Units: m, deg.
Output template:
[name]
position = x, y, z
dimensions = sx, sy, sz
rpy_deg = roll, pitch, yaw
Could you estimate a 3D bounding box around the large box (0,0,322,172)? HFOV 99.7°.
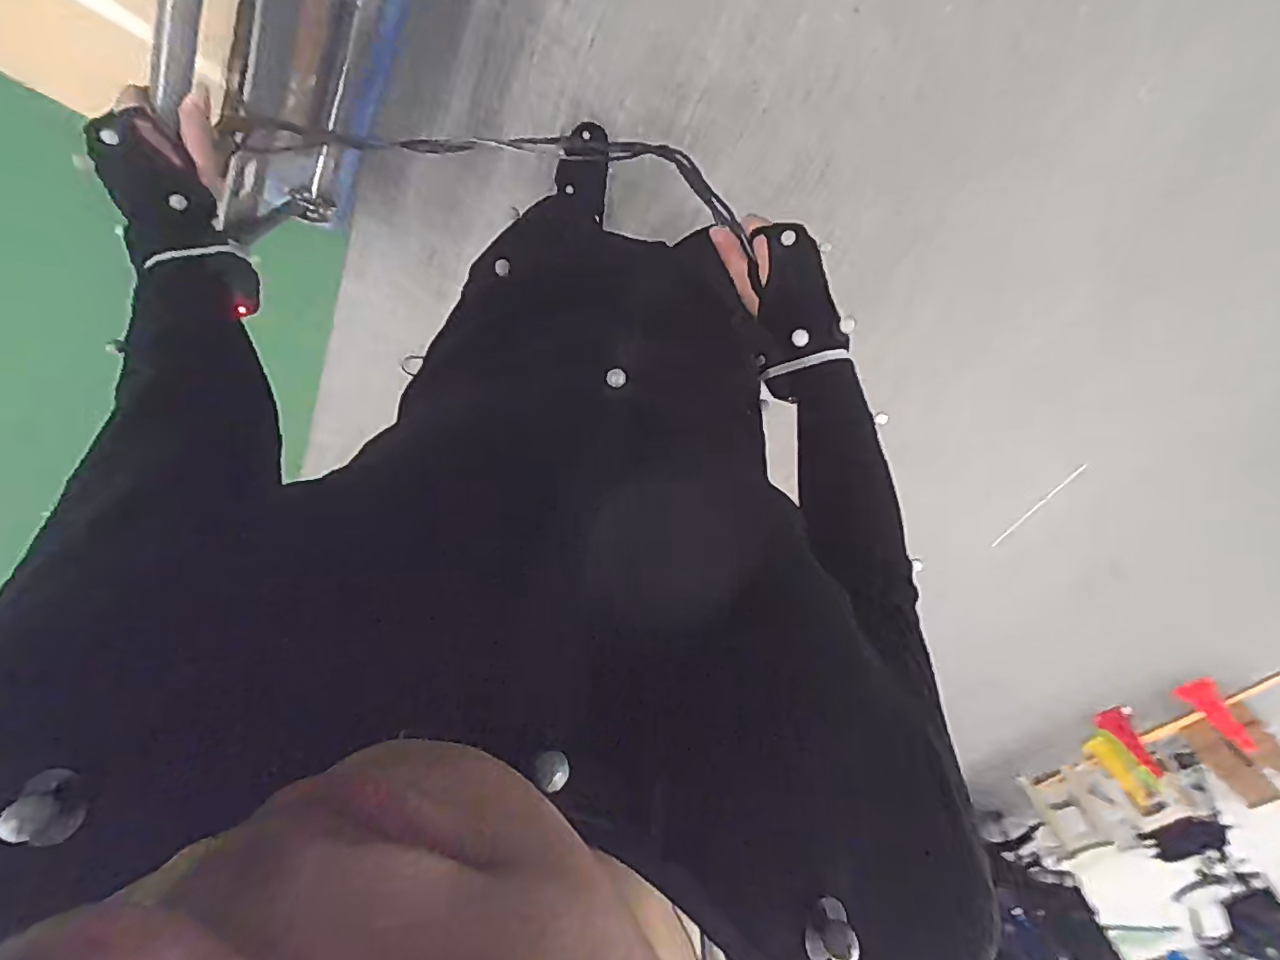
[large box]
position = -0.773, -0.749, 0.817
dimensions = 0.408, 0.320, 0.320
rpy_deg = 25, 121, -22
